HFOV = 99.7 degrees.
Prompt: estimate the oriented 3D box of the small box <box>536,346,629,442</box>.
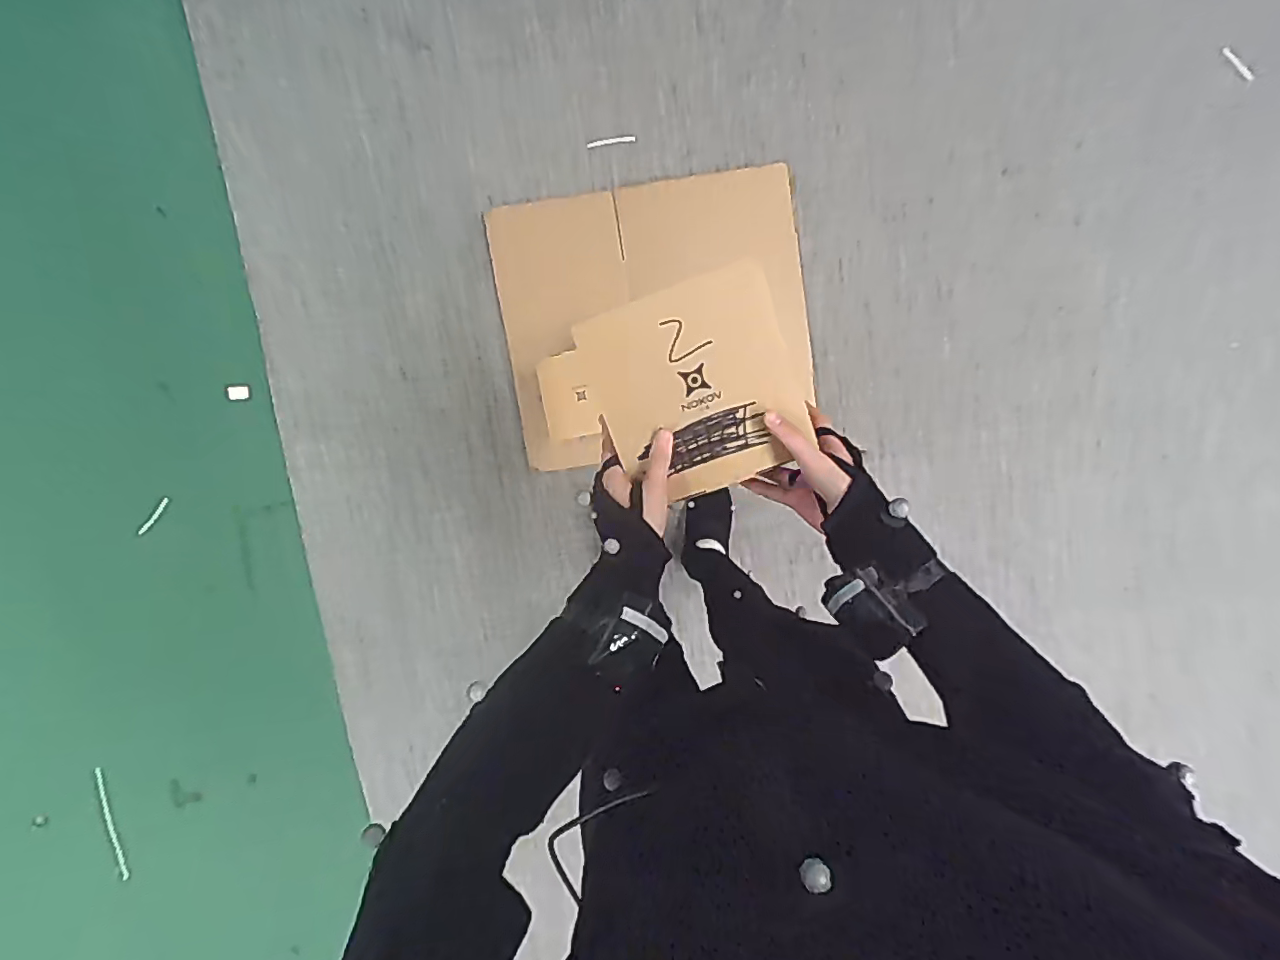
[{"bbox_3d":[-0.118,-0.184,1.184,0.168,0.176,0.179,-10,96,0],"label":"small box"}]
